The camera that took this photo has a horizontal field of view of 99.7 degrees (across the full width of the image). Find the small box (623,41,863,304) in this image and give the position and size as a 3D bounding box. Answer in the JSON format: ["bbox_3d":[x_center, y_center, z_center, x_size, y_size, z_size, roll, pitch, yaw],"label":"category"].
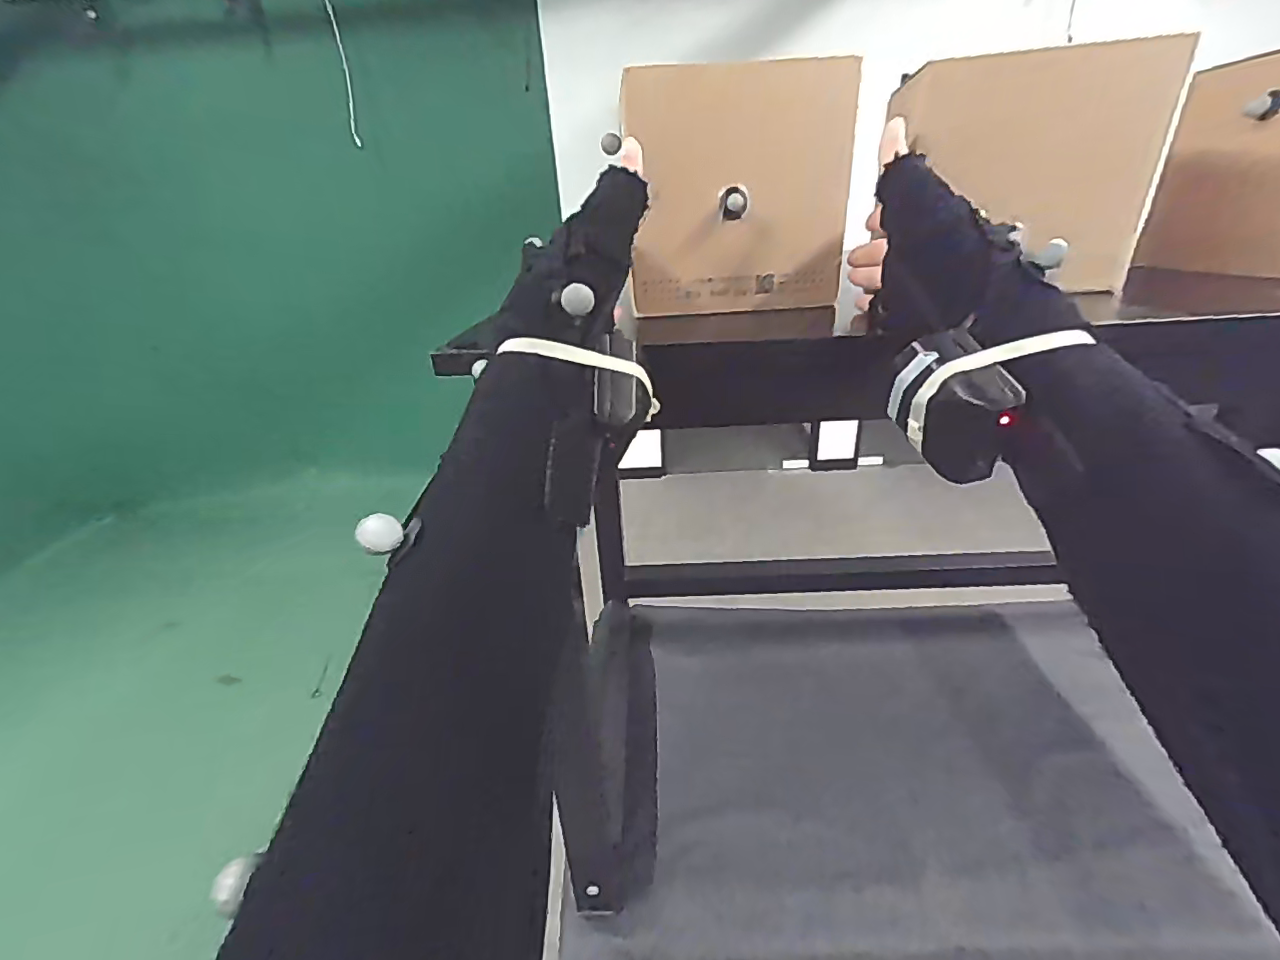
[{"bbox_3d":[0.072,-0.250,0.470,0.168,0.176,0.179,-3,26,-1],"label":"small box"}]

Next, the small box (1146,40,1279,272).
[{"bbox_3d":[0.586,-0.264,0.438,0.168,0.176,0.179,-4,26,-2],"label":"small box"}]
